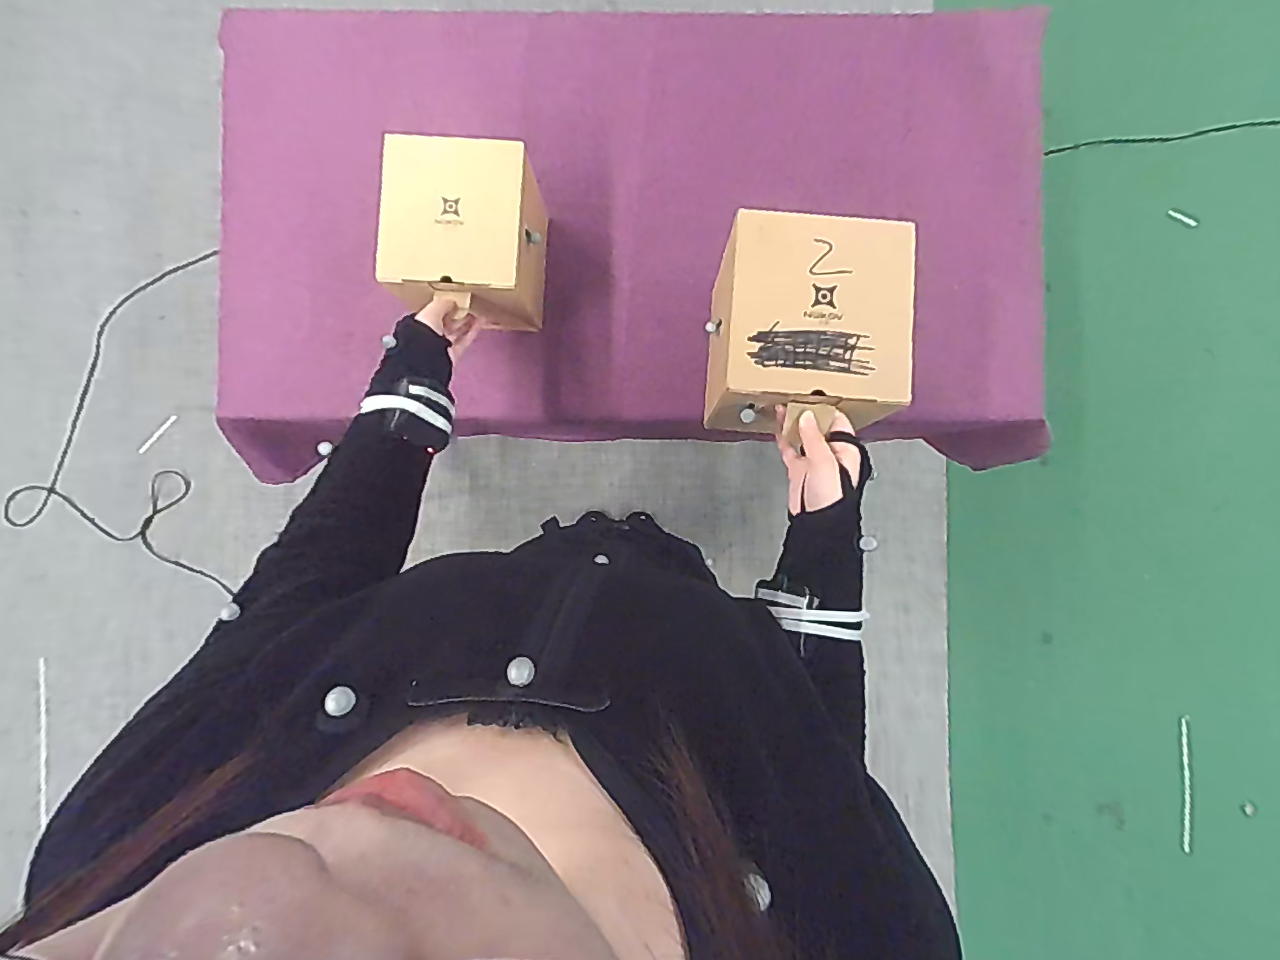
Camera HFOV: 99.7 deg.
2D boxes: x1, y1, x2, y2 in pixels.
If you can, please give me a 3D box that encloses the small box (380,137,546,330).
[{"bbox_3d":[-0.224,-0.318,0.727,0.168,0.176,0.179,3,89,0],"label":"small box"}]
